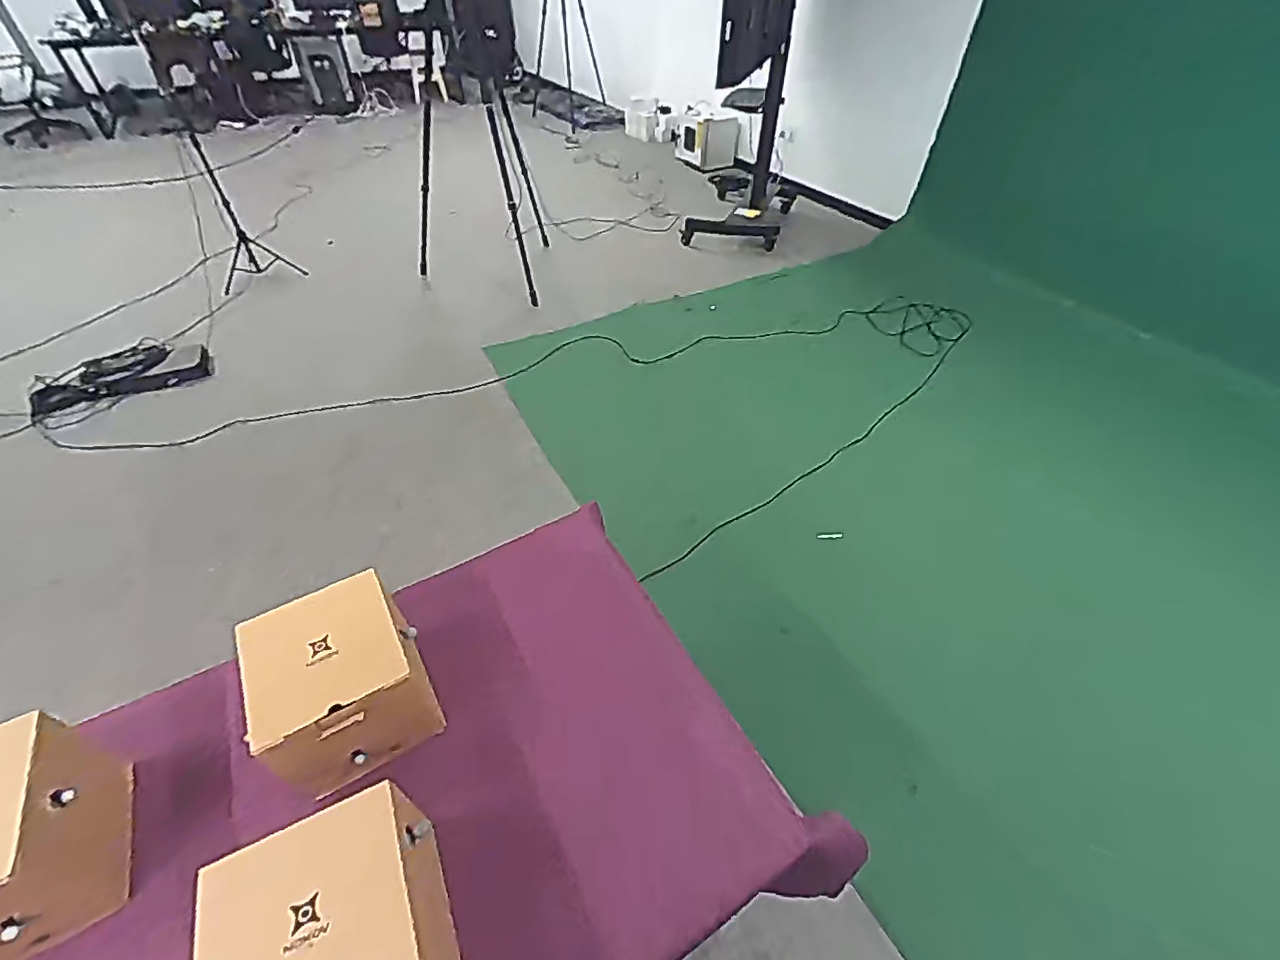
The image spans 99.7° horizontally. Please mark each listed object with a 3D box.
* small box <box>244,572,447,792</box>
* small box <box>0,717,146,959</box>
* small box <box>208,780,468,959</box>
[{"bbox_3d":[-0.371,0.259,0.697,0.168,0.176,0.179,-25,51,-22],"label":"small box"},{"bbox_3d":[-0.666,0.393,0.565,0.168,0.176,0.179,-22,50,-22],"label":"small box"},{"bbox_3d":[-0.279,0.436,0.521,0.168,0.176,0.179,-20,49,-18],"label":"small box"}]
